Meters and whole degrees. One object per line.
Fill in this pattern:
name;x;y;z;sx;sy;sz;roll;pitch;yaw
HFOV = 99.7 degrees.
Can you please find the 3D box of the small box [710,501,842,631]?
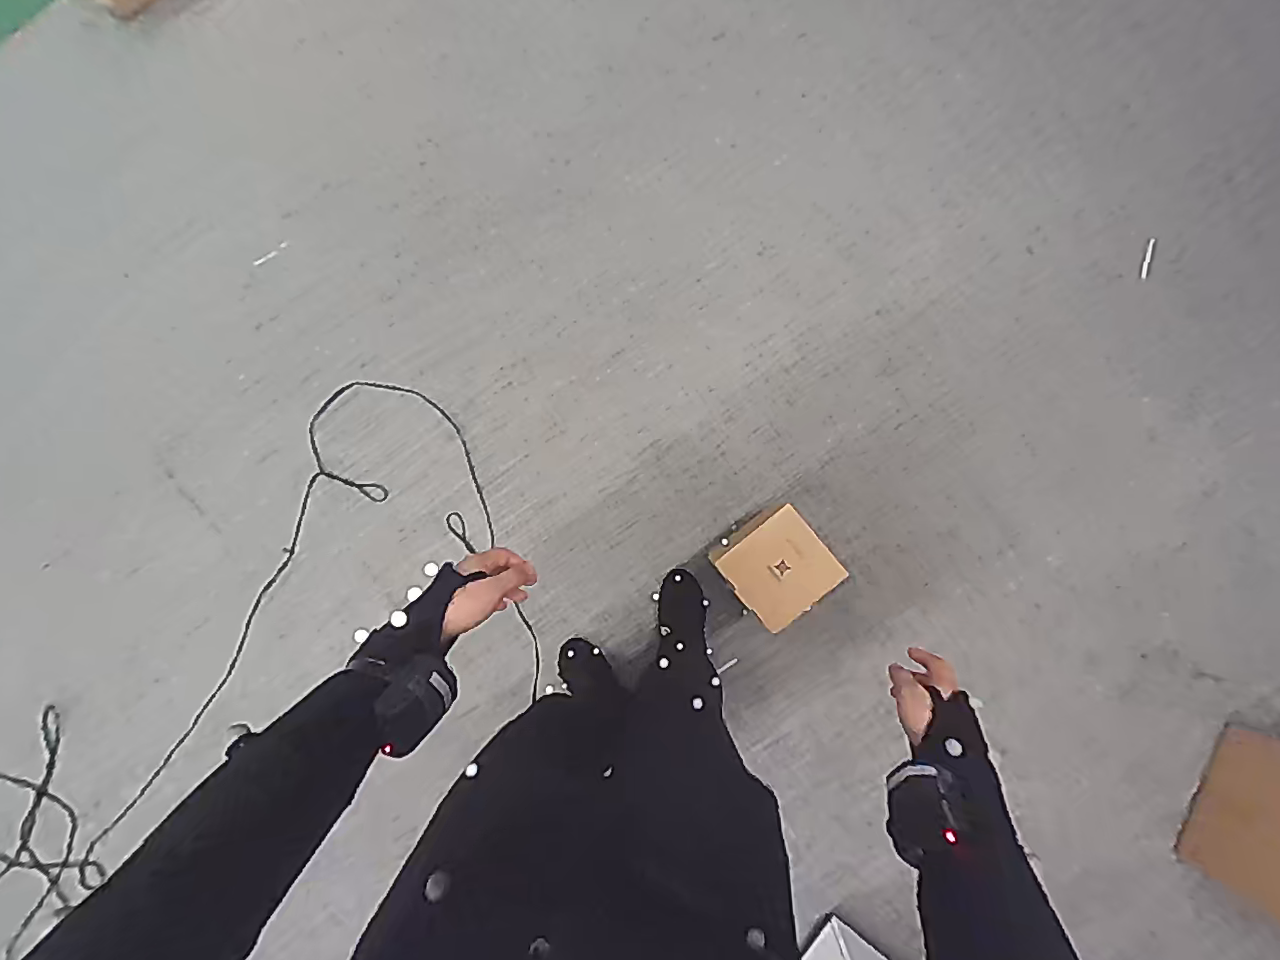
small box;0.248;0.158;1.042;0.179;0.176;0.168;-40;86;0
